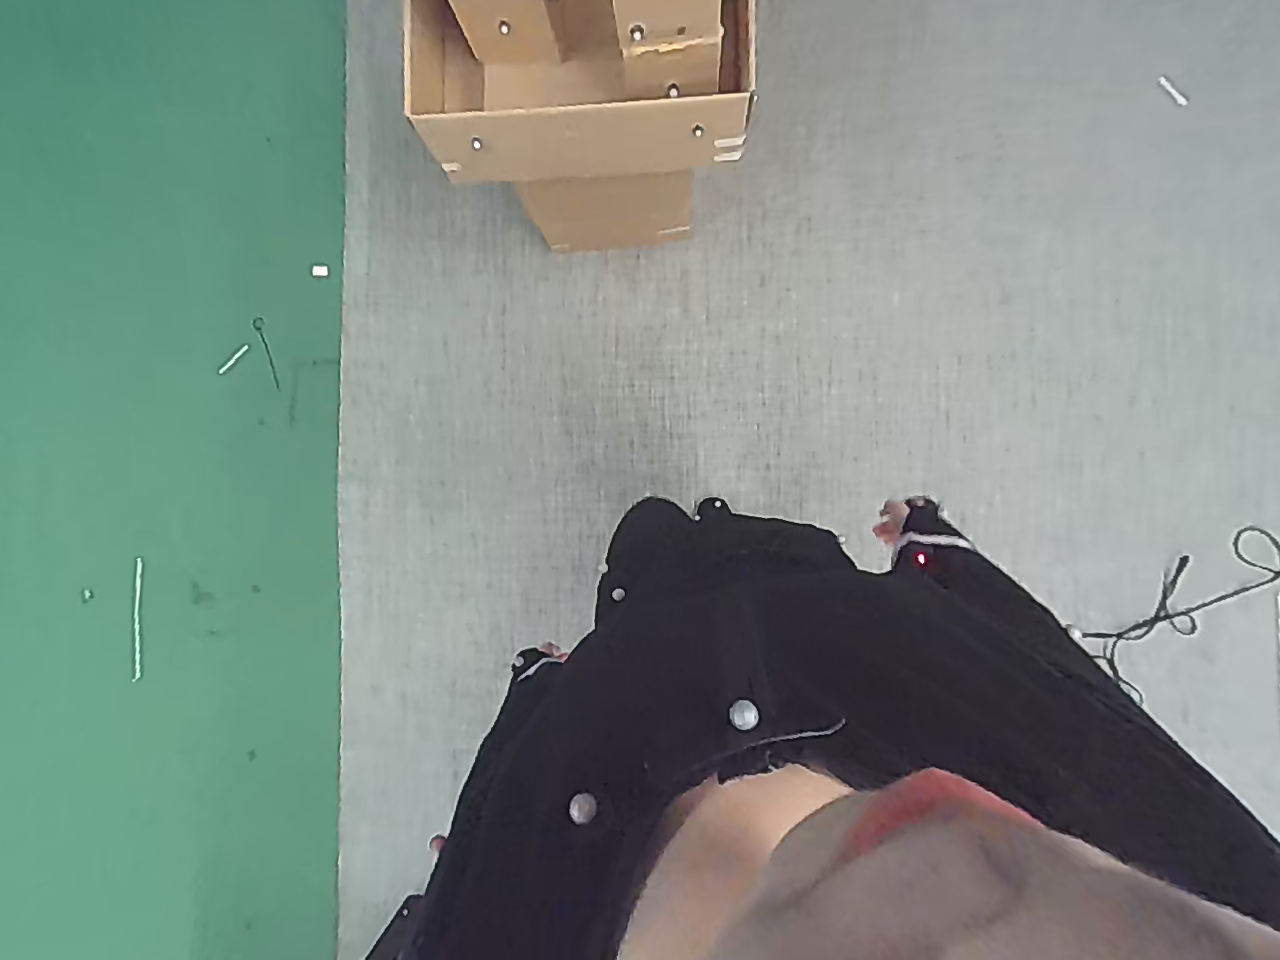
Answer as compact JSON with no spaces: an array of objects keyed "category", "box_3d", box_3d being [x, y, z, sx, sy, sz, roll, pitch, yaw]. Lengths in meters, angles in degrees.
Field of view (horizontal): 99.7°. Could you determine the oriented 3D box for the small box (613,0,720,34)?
[{"category":"small box","box_3d":[0.035,-0.806,0.800,0.168,0.176,0.179,-3,89,5]}]
